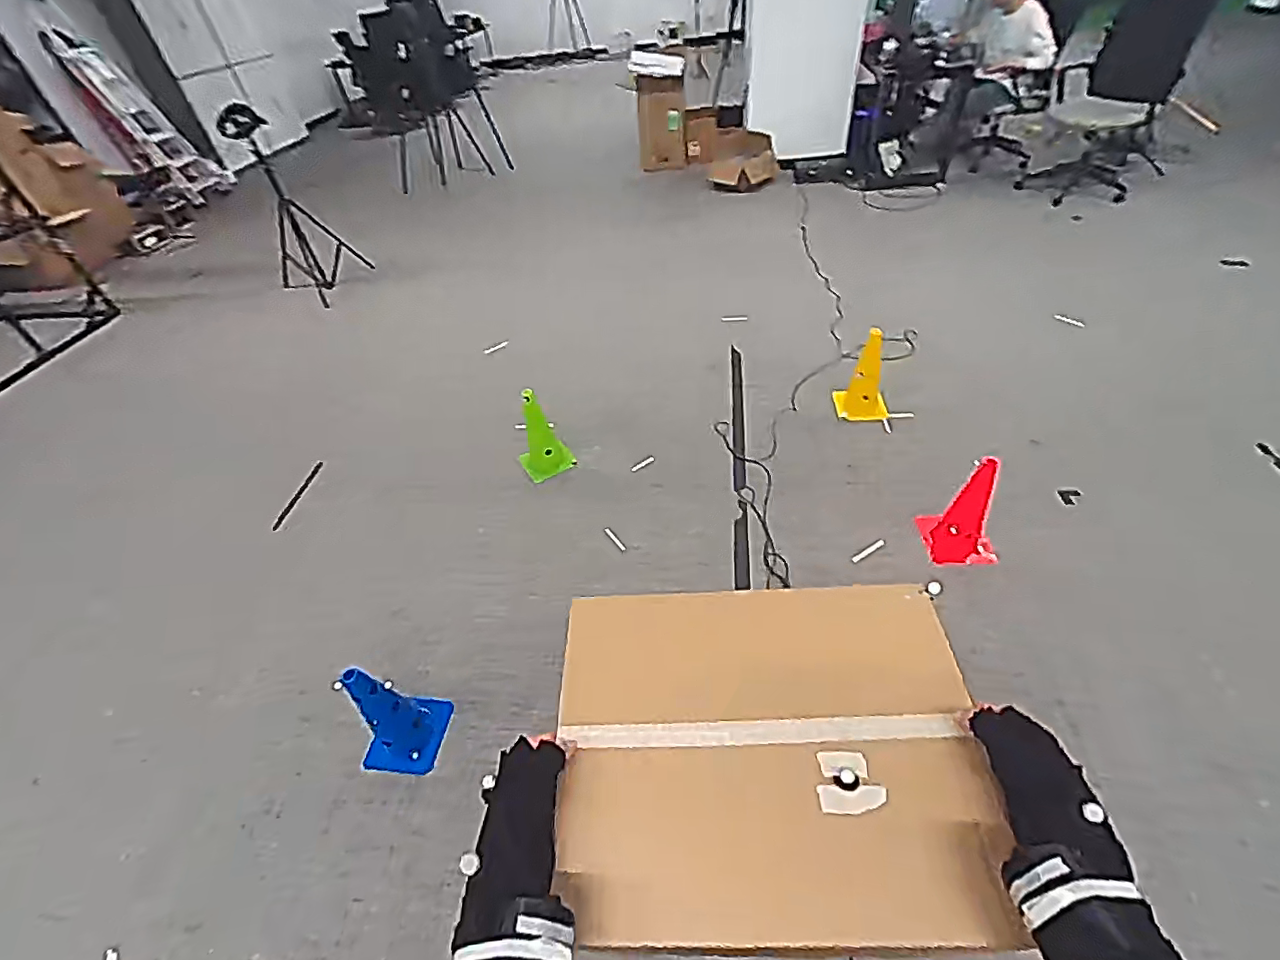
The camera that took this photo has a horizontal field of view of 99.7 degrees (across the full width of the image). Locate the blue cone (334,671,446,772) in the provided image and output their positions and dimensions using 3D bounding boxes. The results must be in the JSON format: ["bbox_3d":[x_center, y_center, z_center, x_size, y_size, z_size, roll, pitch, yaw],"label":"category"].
[{"bbox_3d":[-0.671,0.598,1.403,0.192,0.380,0.193,1,45,11],"label":"blue cone"}]

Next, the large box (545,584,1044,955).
[{"bbox_3d":[0.128,0.345,0.636,0.408,0.320,0.320,-3,48,4],"label":"large box"}]

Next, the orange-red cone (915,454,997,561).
[{"bbox_3d":[1.015,0.062,1.667,0.198,0.360,0.199,-2,43,6],"label":"orange-red cone"}]

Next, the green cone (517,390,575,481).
[{"bbox_3d":[-0.417,-0.207,2.156,0.202,0.368,0.200,-29,47,-17],"label":"green cone"}]
